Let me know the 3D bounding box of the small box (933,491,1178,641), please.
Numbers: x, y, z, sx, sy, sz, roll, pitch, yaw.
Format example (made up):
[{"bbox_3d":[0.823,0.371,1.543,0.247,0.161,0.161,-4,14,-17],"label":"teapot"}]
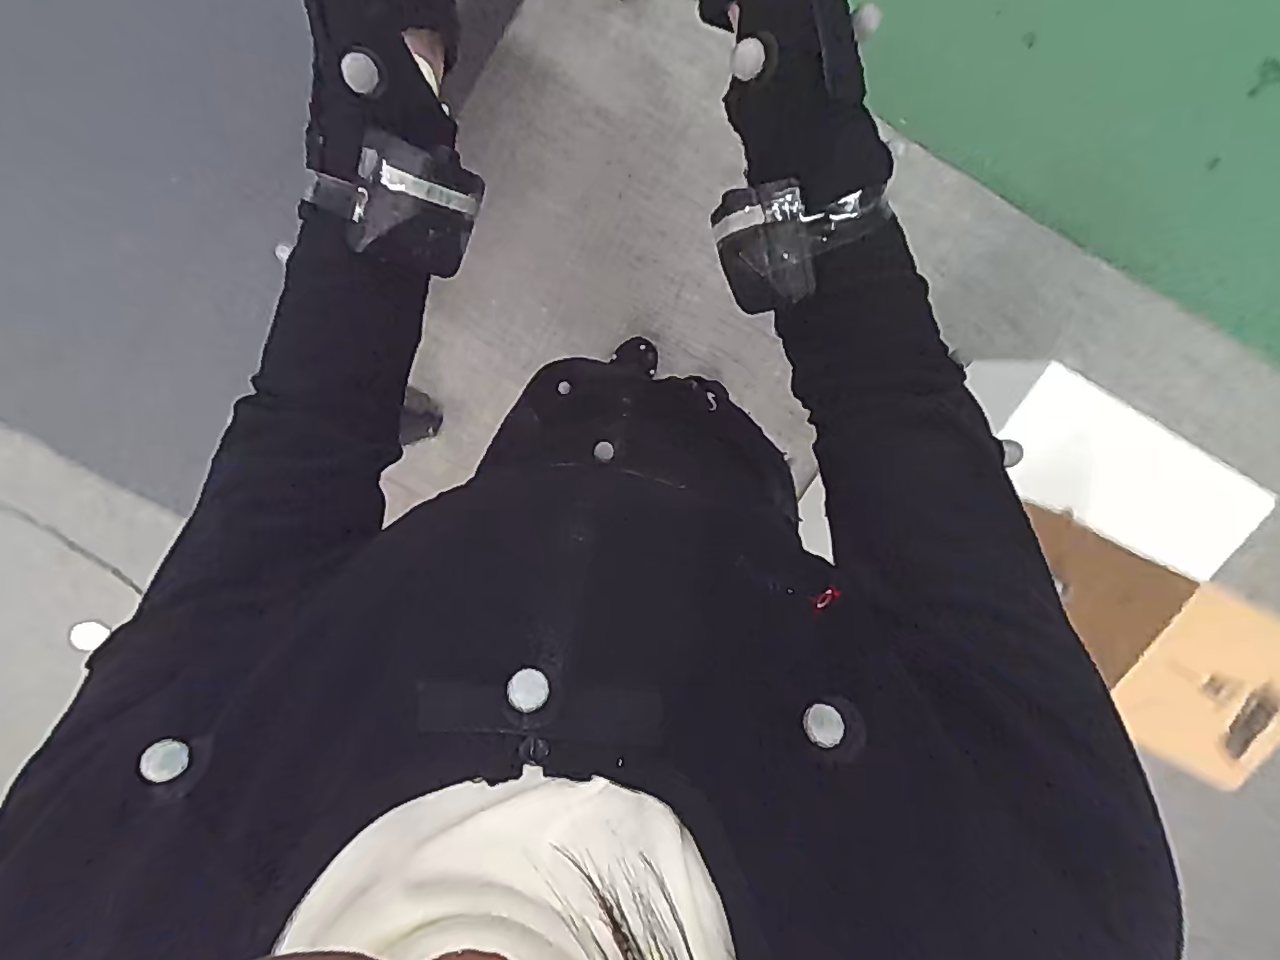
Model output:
[{"bbox_3d":[0.540,0.139,0.739,0.168,0.176,0.179,27,102,-4],"label":"small box"}]
